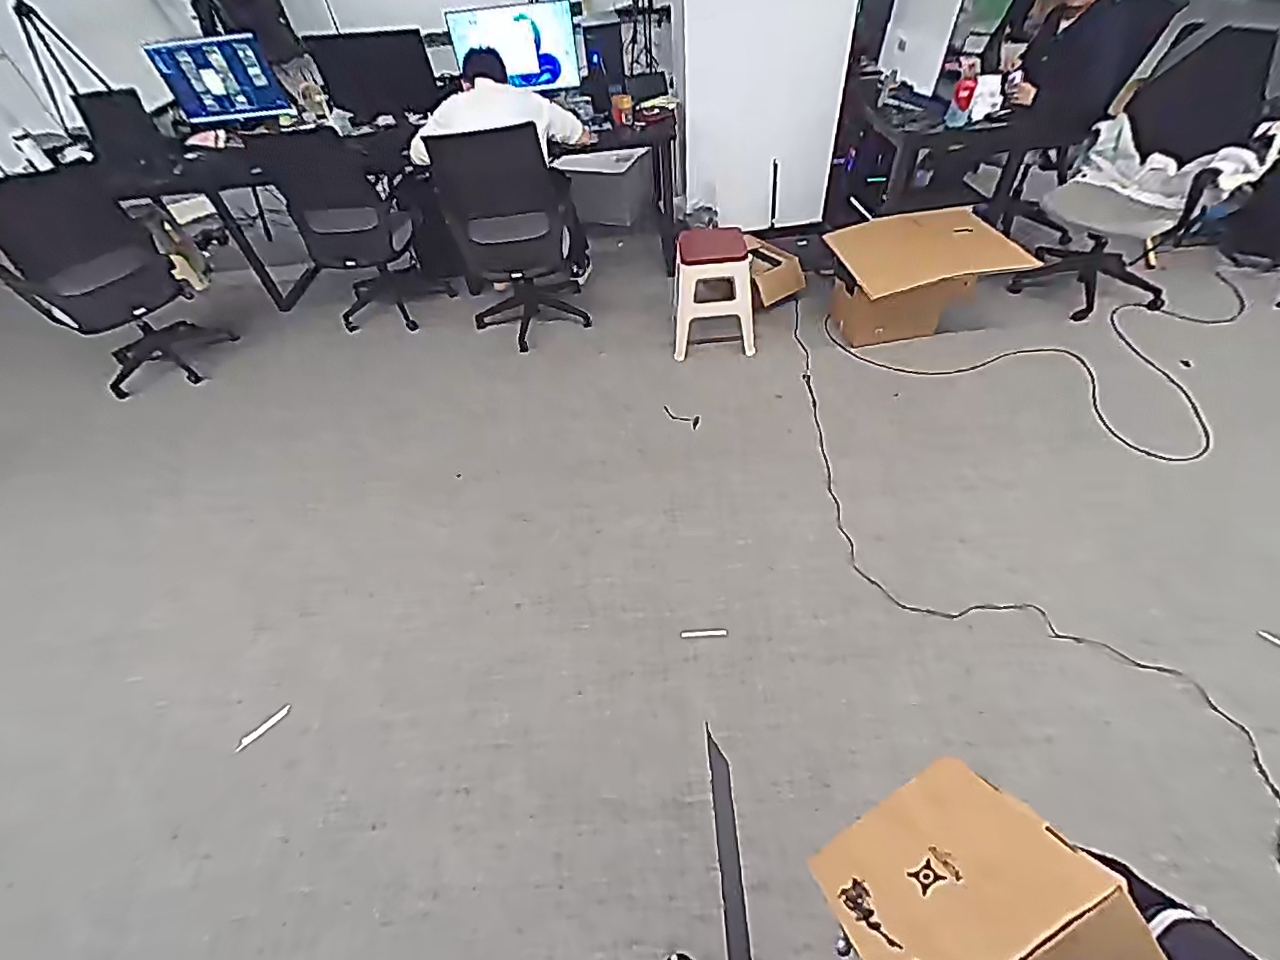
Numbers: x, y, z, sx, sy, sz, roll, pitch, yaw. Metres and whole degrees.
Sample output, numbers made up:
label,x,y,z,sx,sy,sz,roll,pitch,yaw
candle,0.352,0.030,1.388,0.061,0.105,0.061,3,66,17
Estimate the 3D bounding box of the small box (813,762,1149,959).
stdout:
label,x,y,z,sx,sy,sz,roll,pitch,yaw
small box,0.286,0.389,0.448,0.179,0.168,0.176,-32,93,-4
